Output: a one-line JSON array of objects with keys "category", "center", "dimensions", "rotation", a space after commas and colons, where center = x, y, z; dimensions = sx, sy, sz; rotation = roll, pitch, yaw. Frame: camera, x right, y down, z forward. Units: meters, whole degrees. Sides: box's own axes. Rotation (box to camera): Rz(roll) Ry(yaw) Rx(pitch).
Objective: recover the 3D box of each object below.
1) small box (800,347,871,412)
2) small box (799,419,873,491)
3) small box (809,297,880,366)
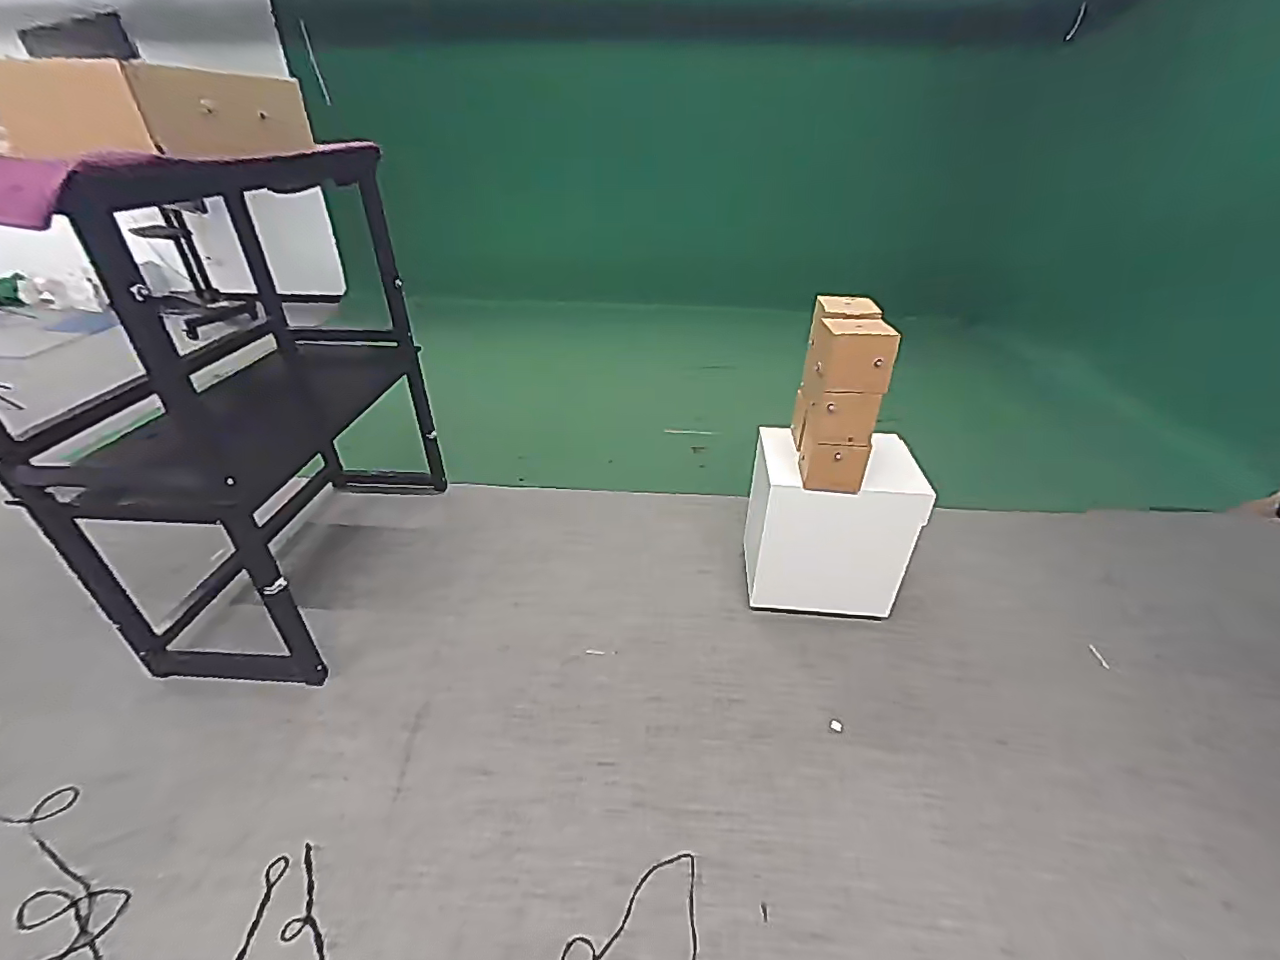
[{"category": "small box", "center": [0.651, -0.339, 1.815], "dimensions": [0.179, 0.176, 0.168], "rotation": [4, 34, 5]}, {"category": "small box", "center": [0.616, -0.078, 1.720], "dimensions": [0.179, 0.176, 0.168], "rotation": [4, 33, 6]}, {"category": "small box", "center": [0.644, -0.472, 1.719], "dimensions": [0.168, 0.176, 0.179], "rotation": [5, 36, 5]}]
